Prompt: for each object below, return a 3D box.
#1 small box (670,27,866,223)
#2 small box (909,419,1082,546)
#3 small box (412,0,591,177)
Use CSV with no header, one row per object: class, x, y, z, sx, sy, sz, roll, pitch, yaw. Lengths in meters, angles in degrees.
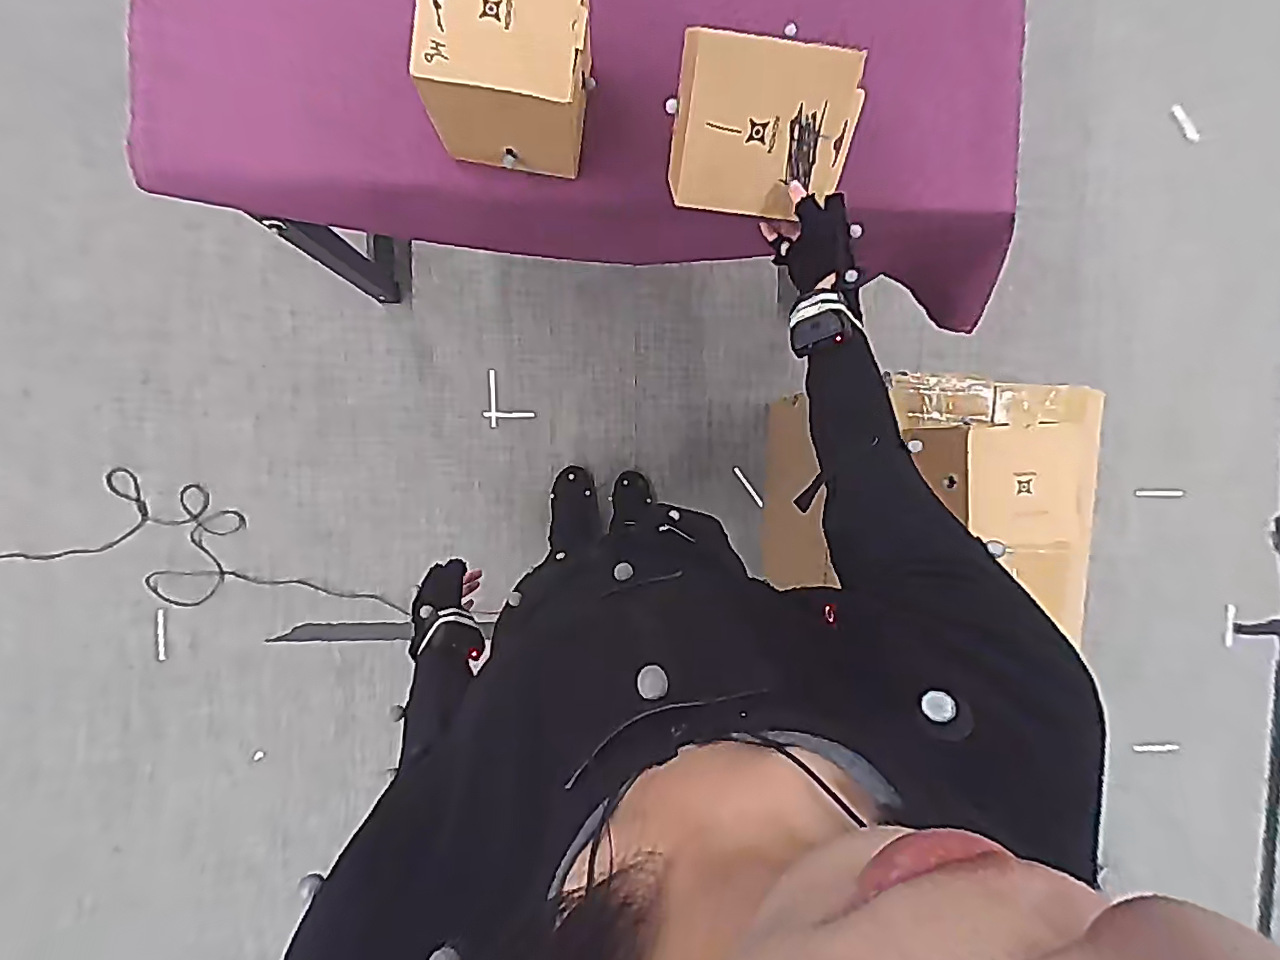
small box,0.136,-0.430,0.656,0.179,0.176,0.168,6,128,-4
small box,0.543,-0.001,0.846,0.168,0.176,0.179,-3,94,-2
small box,-0.156,-0.503,0.662,0.179,0.176,0.168,7,91,-6
